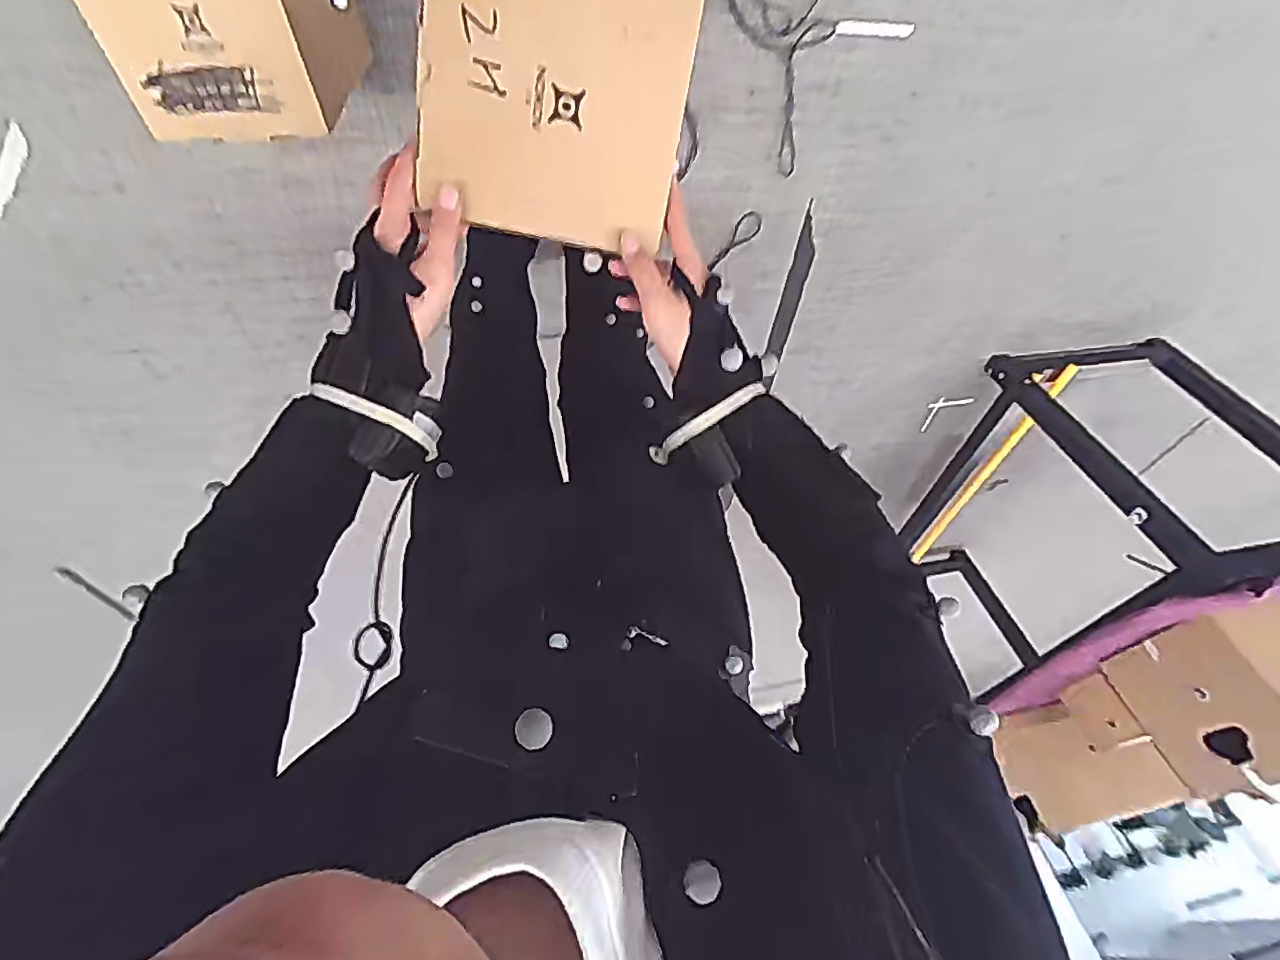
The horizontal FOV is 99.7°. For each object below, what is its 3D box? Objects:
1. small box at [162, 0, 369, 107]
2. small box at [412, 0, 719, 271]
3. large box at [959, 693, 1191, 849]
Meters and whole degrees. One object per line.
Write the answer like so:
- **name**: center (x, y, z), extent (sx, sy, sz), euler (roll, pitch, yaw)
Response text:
- **small box**: center (-0.446, -0.578, 0.643), extent (0.168, 0.176, 0.179), euler (-11, 141, -5)
- **small box**: center (-0.060, -0.269, 0.421), extent (0.179, 0.176, 0.168), euler (9, 110, -10)
- **large box**: center (1.330, 0.914, 1.704), extent (0.408, 0.320, 0.320), euler (-8, 141, -11)
